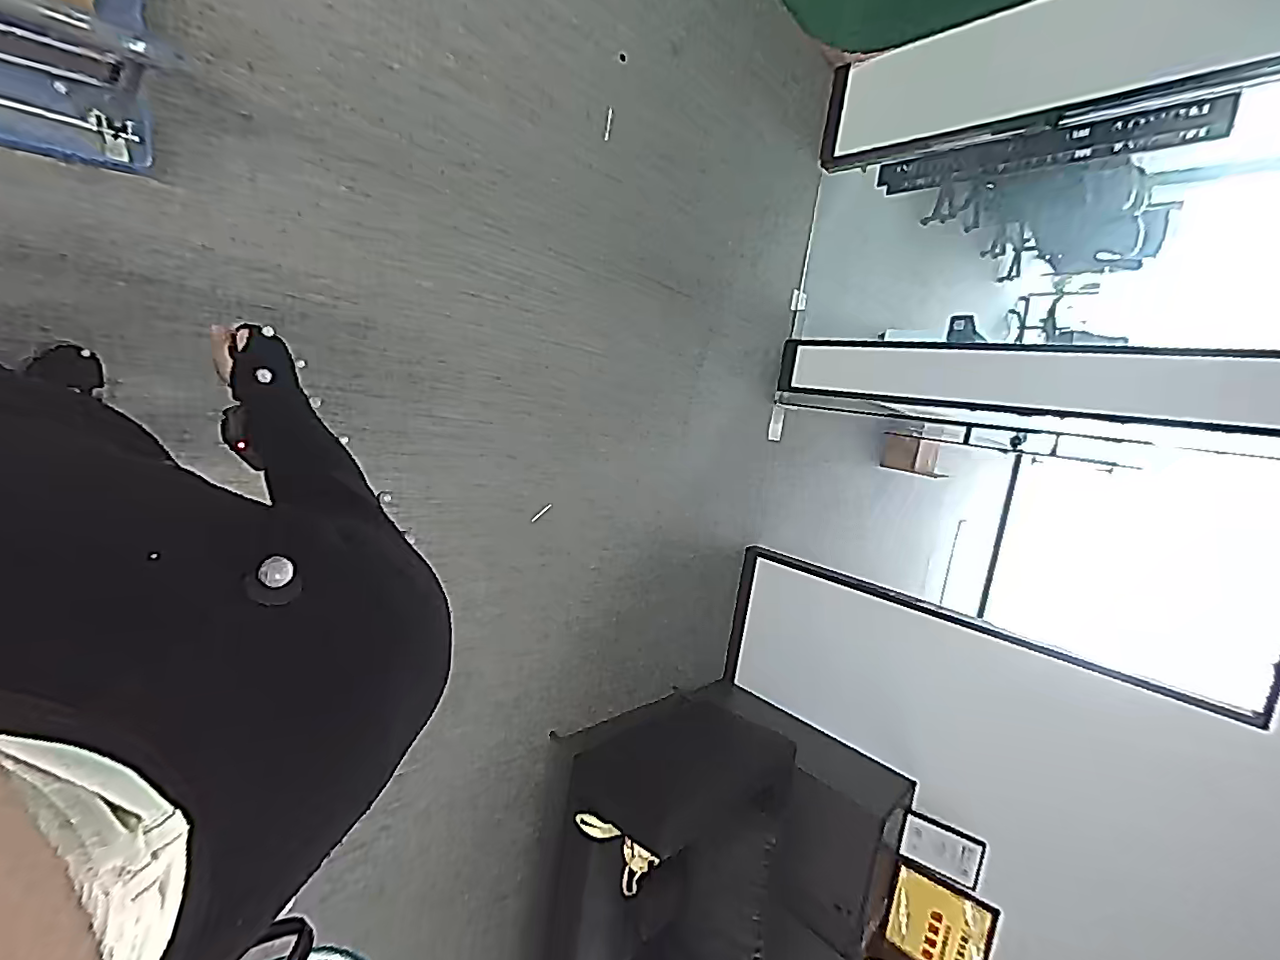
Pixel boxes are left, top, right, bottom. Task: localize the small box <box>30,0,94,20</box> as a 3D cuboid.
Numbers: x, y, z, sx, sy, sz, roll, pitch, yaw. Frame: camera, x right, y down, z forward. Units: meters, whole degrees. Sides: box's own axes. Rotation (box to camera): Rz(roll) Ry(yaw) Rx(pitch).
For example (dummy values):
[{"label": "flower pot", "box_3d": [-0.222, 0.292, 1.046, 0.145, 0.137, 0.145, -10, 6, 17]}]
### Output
[{"label": "small box", "box_3d": [-0.936, -0.850, 0.805, 0.168, 0.176, 0.179, -5, 106, -45]}]
